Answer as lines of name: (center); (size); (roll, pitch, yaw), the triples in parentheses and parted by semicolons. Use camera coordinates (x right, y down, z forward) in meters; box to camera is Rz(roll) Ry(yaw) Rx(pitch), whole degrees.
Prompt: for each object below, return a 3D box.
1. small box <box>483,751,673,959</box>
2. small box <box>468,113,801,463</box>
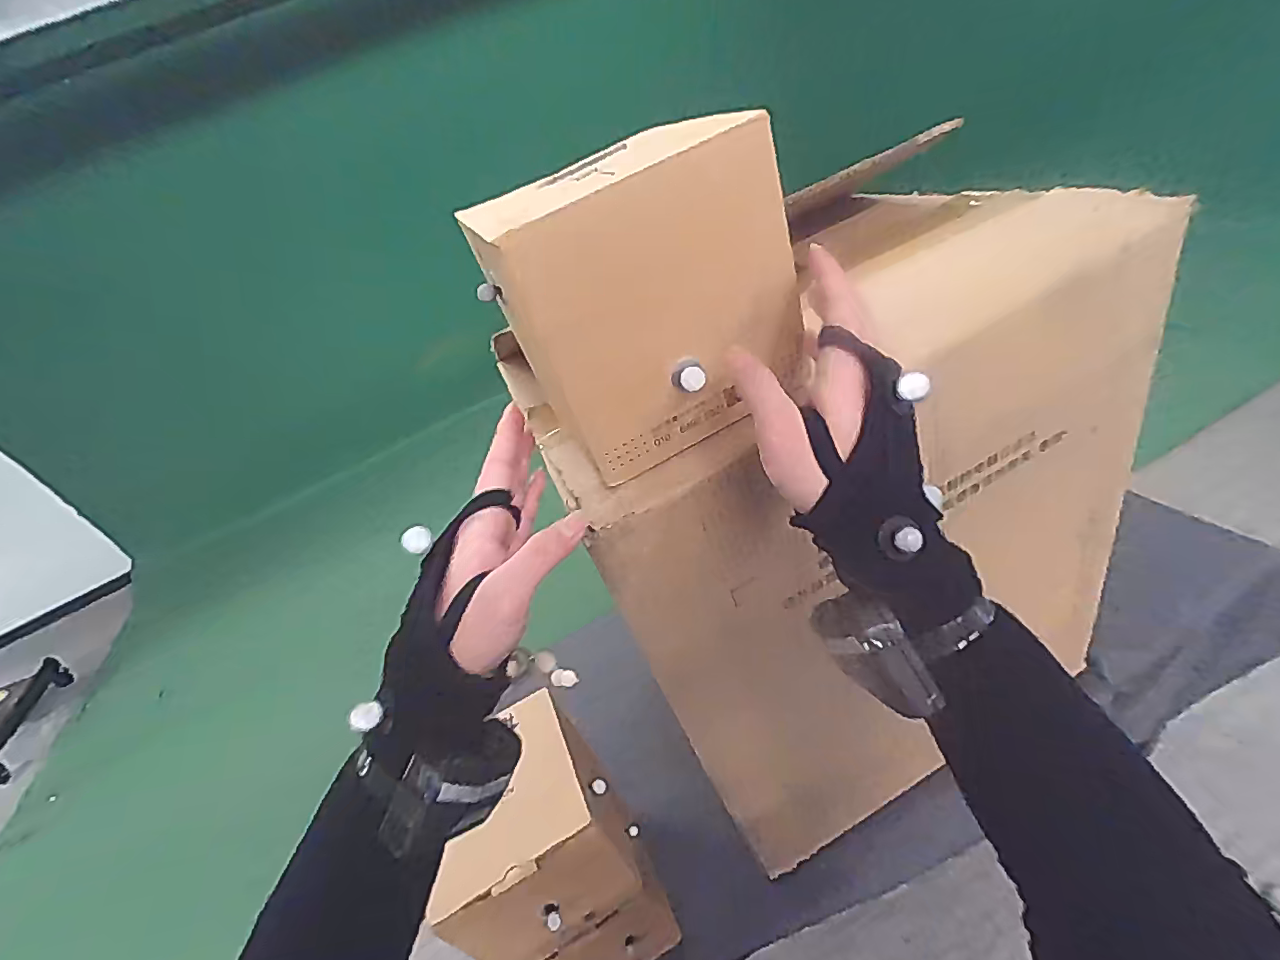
small box: (-0.077, 0.502, 0.694); (0.168, 0.176, 0.179); (-27, 34, -11)
small box: (-0.006, -0.140, 0.400); (0.168, 0.176, 0.179); (-28, 36, -7)
